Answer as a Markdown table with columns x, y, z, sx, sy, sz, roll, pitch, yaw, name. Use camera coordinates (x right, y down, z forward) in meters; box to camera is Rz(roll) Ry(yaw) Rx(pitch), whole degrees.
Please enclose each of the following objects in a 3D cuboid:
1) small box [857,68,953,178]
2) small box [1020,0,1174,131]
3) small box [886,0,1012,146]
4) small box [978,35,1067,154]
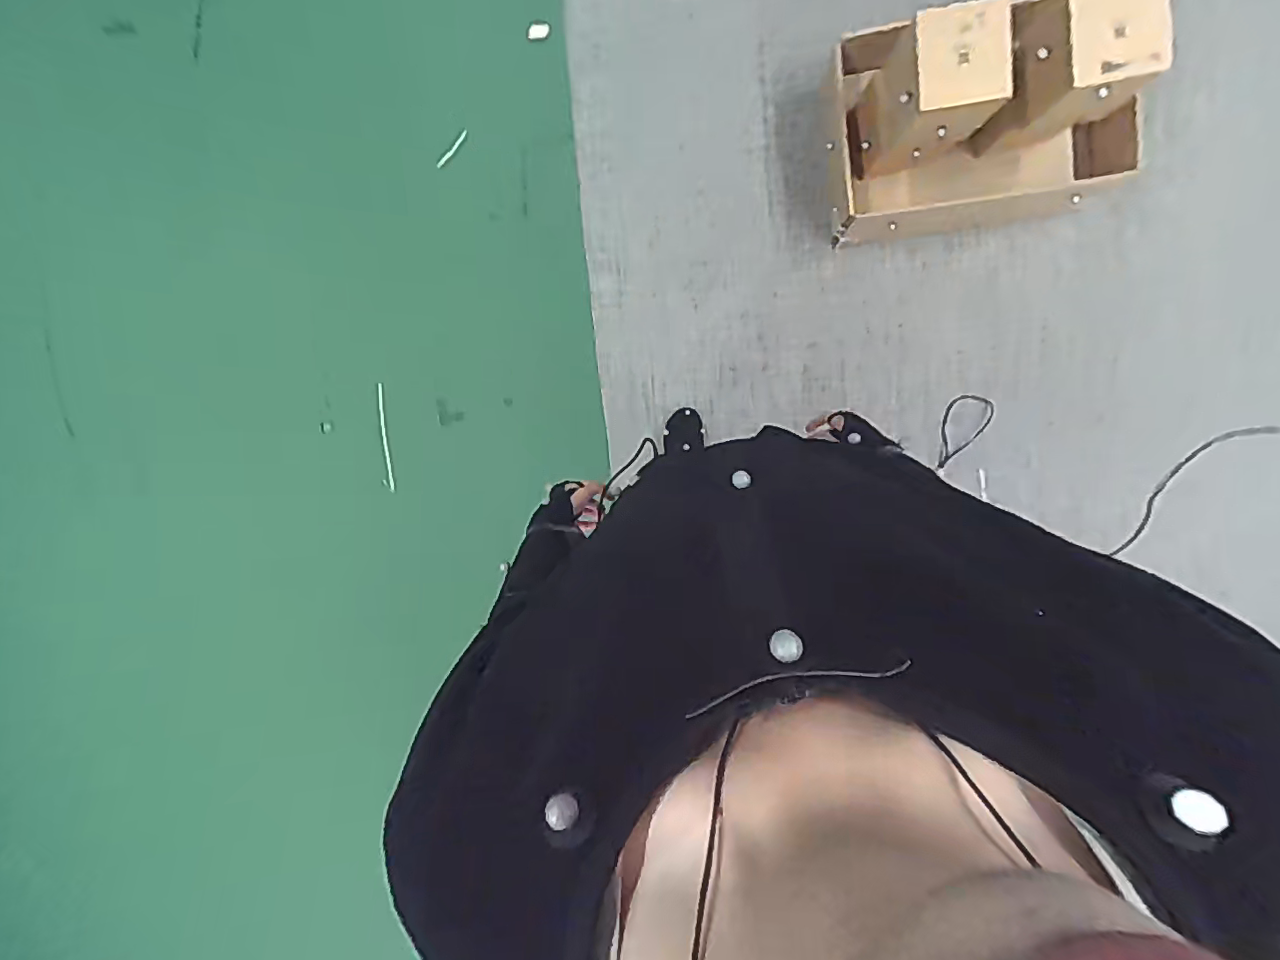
| x | y | z | sx | sy | sz | roll | pitch | yaw | name |
| --- | --- | --- | --- | --- | --- | --- | --- | --- | --- |
| 0.611 | -0.823 | 1.238 | 0.179 | 0.176 | 0.168 | -10 | 96 | 5 | small box |
| 0.870 | -0.821 | 1.046 | 0.168 | 0.176 | 0.179 | -8 | 95 | 7 | small box |
| 0.606 | -0.796 | 1.077 | 0.168 | 0.176 | 0.179 | -6 | 97 | 6 | small box |
| 0.877 | -0.863 | 1.205 | 0.179 | 0.176 | 0.168 | -12 | 96 | 7 | small box |
